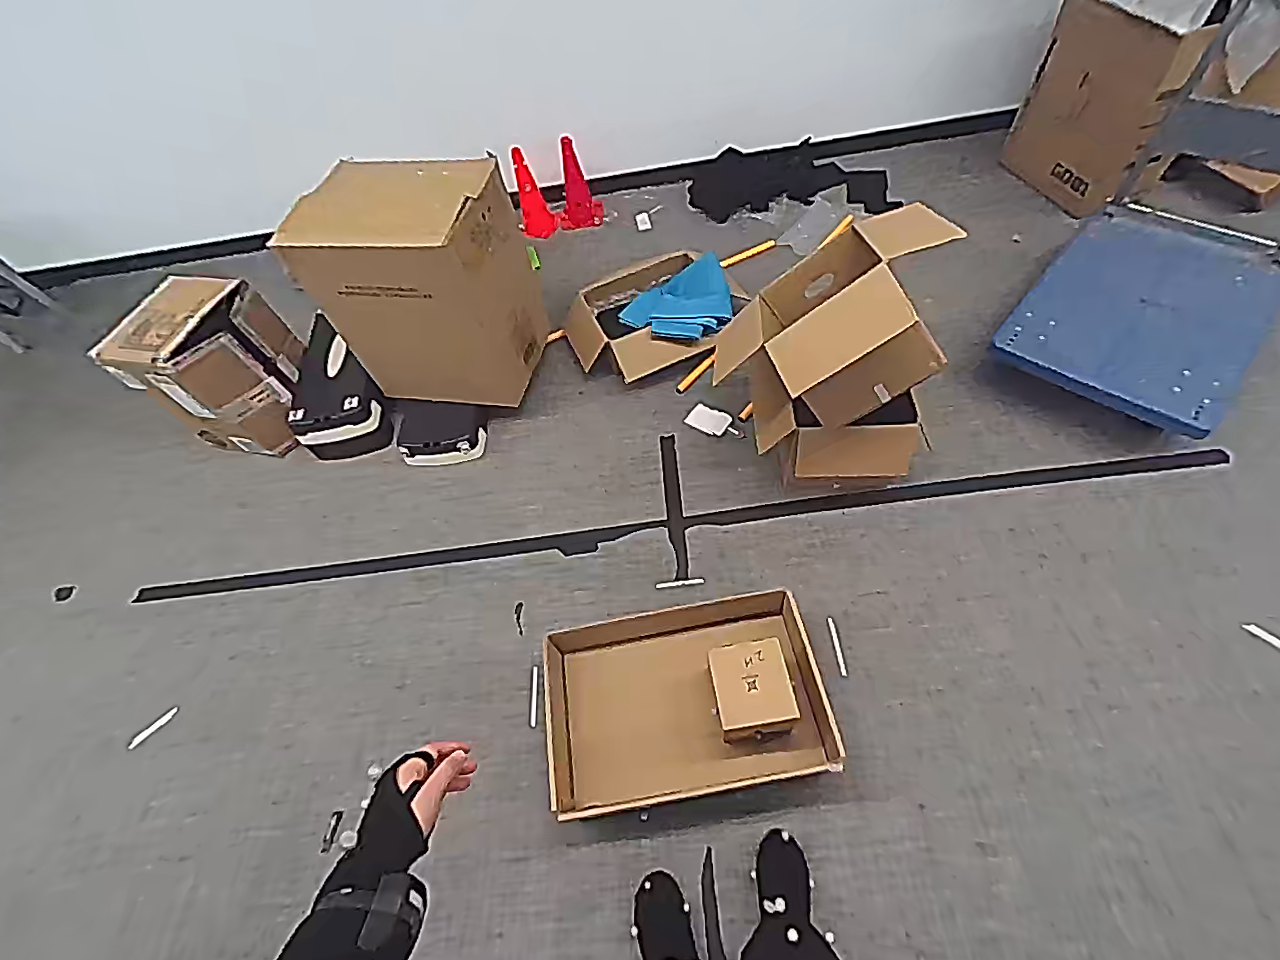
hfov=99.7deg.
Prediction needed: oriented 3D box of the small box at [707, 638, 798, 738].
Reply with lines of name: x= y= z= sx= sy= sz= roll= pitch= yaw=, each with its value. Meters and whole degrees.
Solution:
small box: x=0.253 y=0.485 z=1.244 sx=0.168 sy=0.176 sz=0.179 roll=-10 pitch=55 yaw=1
